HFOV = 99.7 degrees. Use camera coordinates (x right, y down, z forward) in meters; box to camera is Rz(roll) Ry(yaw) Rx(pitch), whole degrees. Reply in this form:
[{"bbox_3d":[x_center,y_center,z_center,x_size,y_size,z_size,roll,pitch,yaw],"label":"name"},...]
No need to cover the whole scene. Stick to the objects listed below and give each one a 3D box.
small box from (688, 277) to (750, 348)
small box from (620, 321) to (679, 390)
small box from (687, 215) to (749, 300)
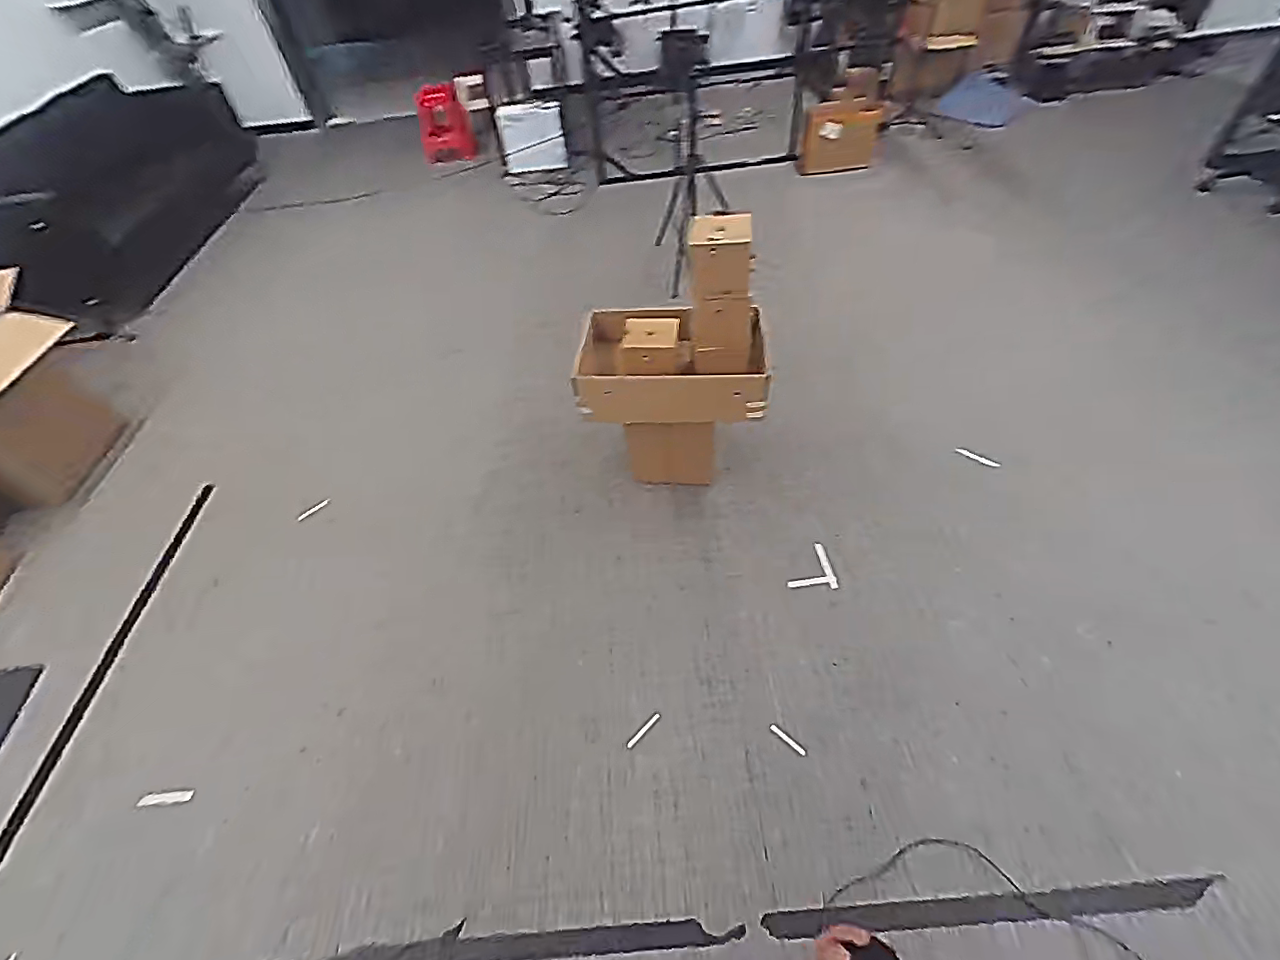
[{"bbox_3d":[0.242,-0.524,1.669,0.179,0.176,0.168,-3,49,6],"label":"small box"},{"bbox_3d":[0.037,-0.418,1.822,0.179,0.176,0.168,2,49,8],"label":"small box"},{"bbox_3d":[0.227,-0.635,1.549,0.168,0.176,0.179,1,48,10],"label":"small box"}]
